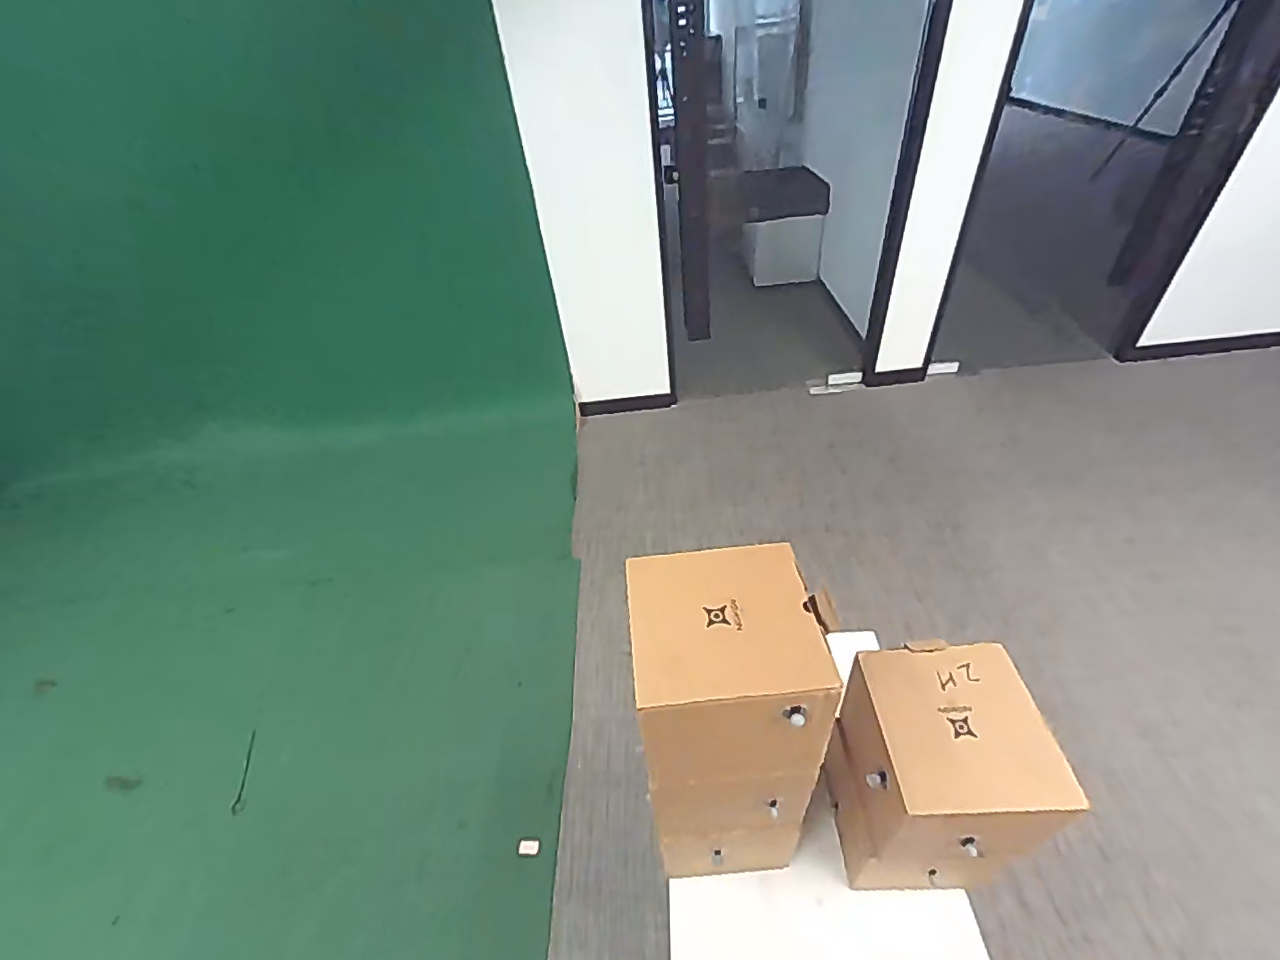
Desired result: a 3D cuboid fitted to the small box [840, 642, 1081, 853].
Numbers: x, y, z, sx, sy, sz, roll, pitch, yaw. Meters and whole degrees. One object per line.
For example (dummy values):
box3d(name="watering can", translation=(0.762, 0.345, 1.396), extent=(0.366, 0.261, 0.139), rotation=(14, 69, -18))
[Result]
box3d(name="small box", translation=(0.343, 0.312, 0.625), extent=(0.168, 0.176, 0.179), rotation=(-4, 42, 4))

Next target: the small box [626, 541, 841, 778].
box3d(name="small box", translation=(0.084, 0.187, 0.559), extent=(0.179, 0.176, 0.168), rotation=(-6, 41, -1))

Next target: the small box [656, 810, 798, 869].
box3d(name="small box", translation=(0.111, 0.434, 0.772), extent=(0.179, 0.176, 0.168), rotation=(-5, 42, 0))

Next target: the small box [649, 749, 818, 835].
box3d(name="small box", translation=(0.097, 0.311, 0.664), extent=(0.179, 0.176, 0.168), rotation=(-7, 41, -1))
